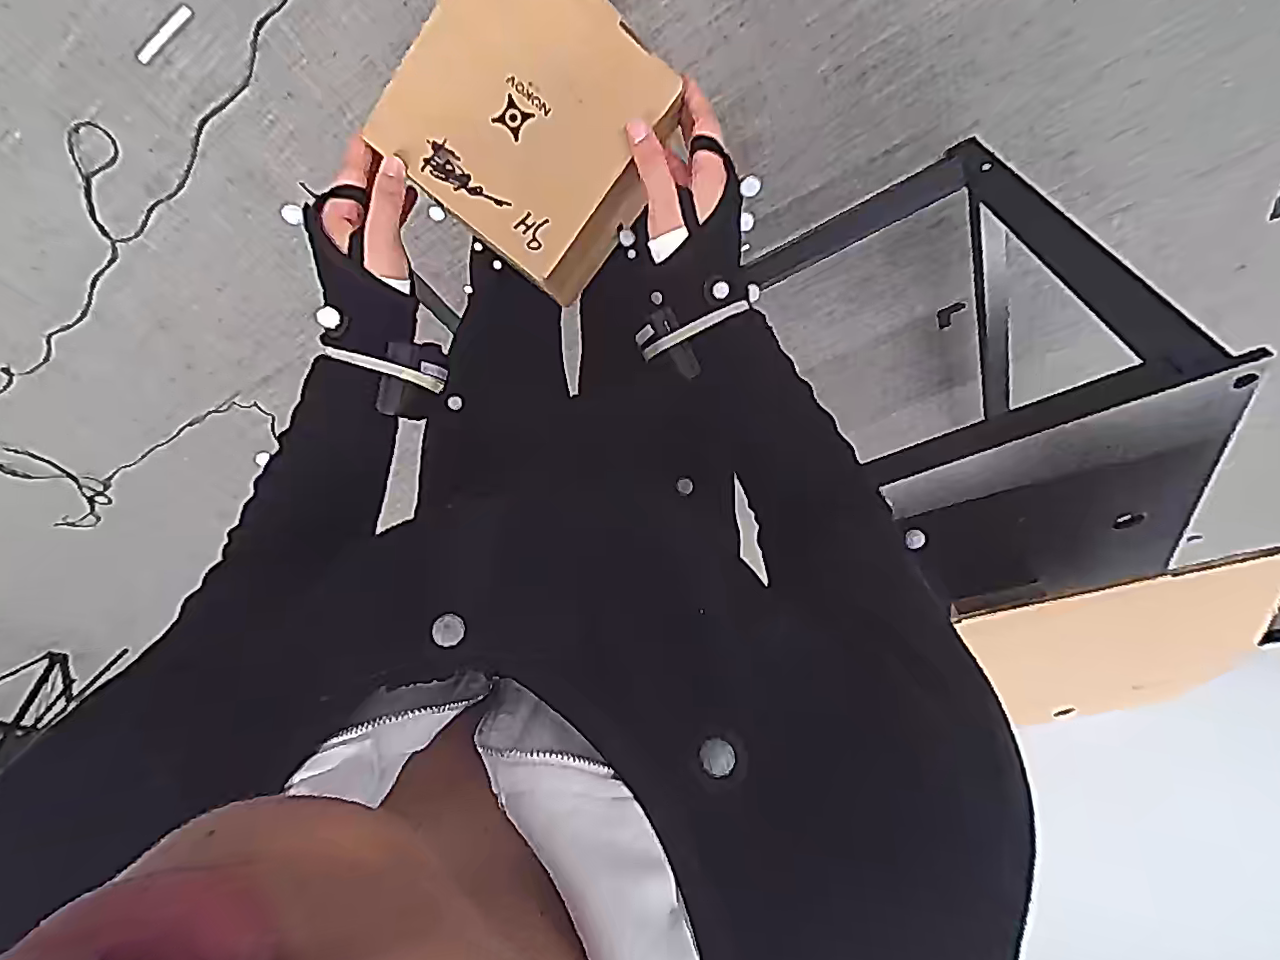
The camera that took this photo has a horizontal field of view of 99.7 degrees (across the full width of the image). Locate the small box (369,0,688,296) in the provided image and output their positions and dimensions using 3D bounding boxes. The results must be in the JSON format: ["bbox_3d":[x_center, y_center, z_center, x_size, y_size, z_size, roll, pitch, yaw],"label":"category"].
[{"bbox_3d":[-0.083,-0.287,0.465,0.168,0.176,0.179,38,98,-7],"label":"small box"}]
